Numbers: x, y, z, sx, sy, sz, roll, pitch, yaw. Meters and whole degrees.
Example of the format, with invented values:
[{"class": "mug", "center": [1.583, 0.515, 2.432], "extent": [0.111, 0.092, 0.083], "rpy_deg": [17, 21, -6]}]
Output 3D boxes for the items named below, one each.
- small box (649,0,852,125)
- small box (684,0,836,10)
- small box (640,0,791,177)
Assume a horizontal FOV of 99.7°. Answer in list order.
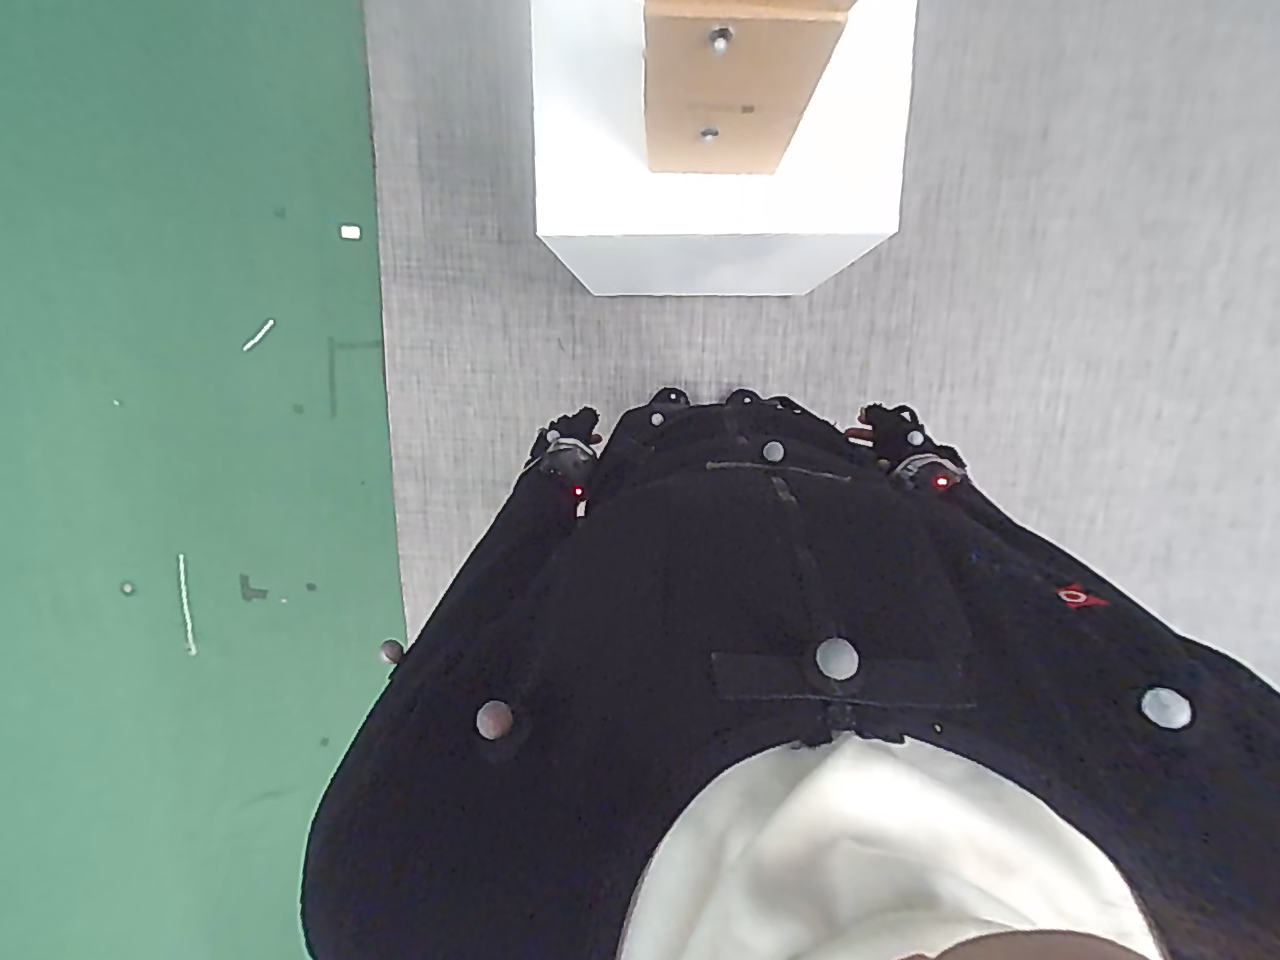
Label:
[{"class": "small box", "center": [0.094, -0.468, 0.504], "extent": [0.168, 0.176, 0.179], "rpy_deg": [1, 100, 2]}, {"class": "small box", "center": [0.081, -0.444, 0.341], "extent": [0.179, 0.176, 0.168], "rpy_deg": [5, 102, 2]}, {"class": "small box", "center": [0.096, -0.492, 0.663], "extent": [0.179, 0.176, 0.168], "rpy_deg": [3, 100, 3]}]
